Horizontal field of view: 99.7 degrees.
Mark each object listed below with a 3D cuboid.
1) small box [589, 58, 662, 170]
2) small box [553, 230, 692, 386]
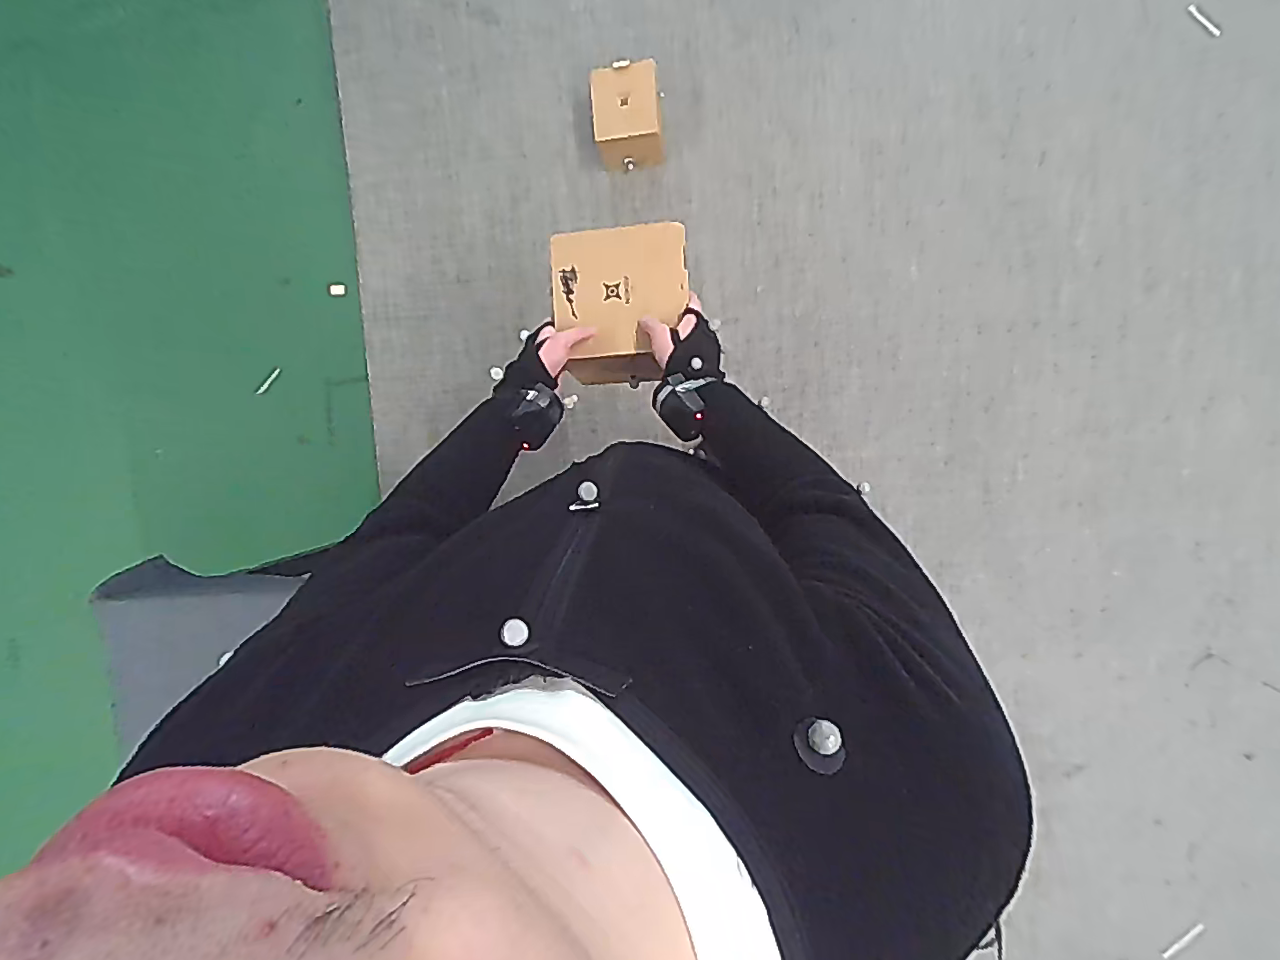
[{"bbox_3d":[-0.034,-0.949,1.415,0.168,0.176,0.179,-1,94,9],"label":"small box"},{"bbox_3d":[-0.019,-0.235,0.774,0.179,0.176,0.168,-3,88,4],"label":"small box"}]
